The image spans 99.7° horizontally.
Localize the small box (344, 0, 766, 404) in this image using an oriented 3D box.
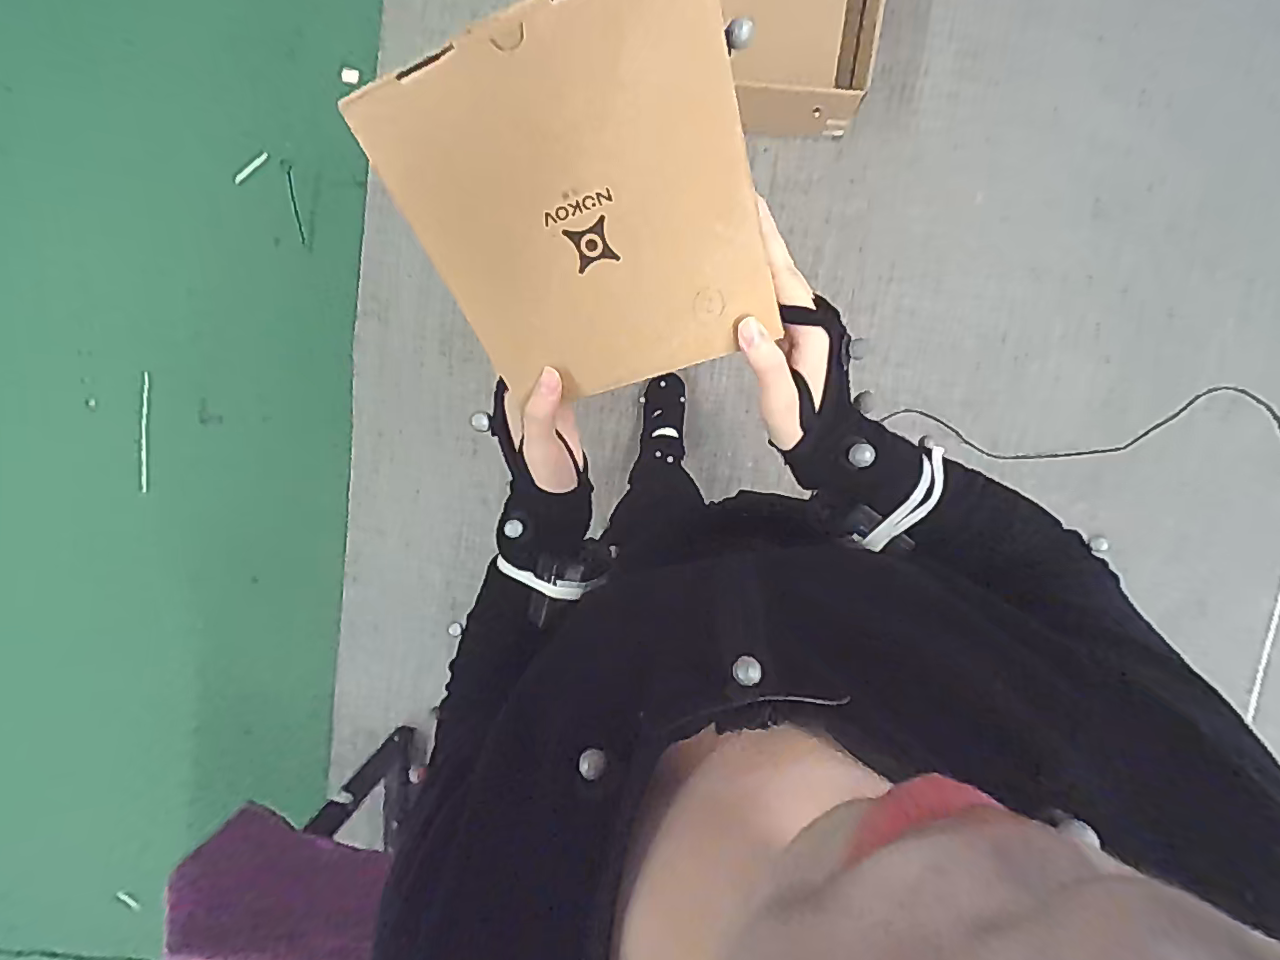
[{"bbox_3d":[-0.027,-0.180,0.334,0.168,0.176,0.179,-14,129,15],"label":"small box"}]
